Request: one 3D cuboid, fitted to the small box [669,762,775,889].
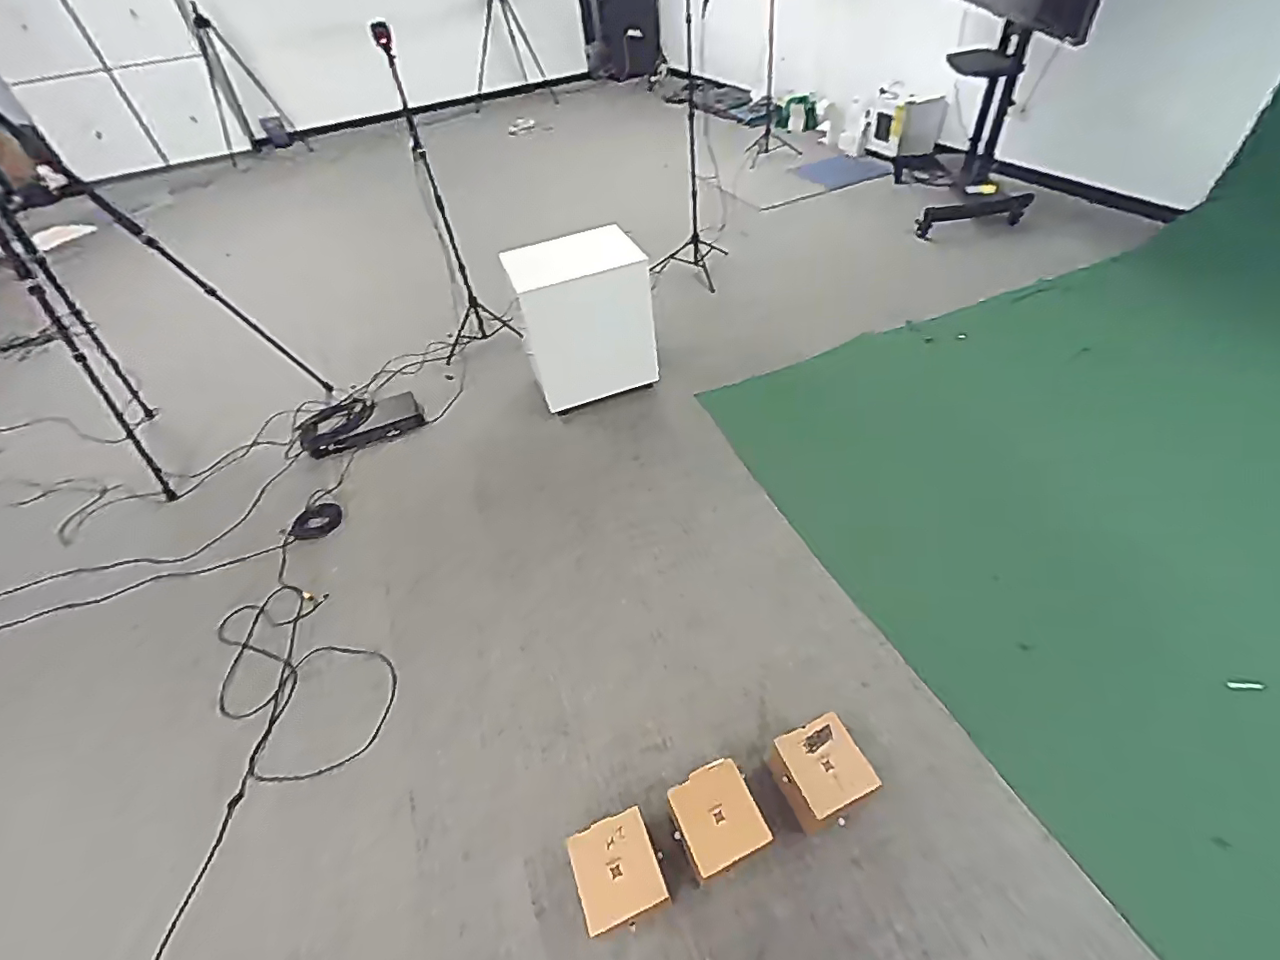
[{"bbox_3d":[0.177,0.768,1.194,0.168,0.176,0.179,-21,47,-13],"label":"small box"}]

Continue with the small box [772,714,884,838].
[{"bbox_3d":[0.421,0.682,1.245,0.168,0.176,0.179,-21,47,-13],"label":"small box"}]

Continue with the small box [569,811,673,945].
[{"bbox_3d":[-0.036,0.844,1.143,0.168,0.176,0.179,-19,46,-12],"label":"small box"}]
